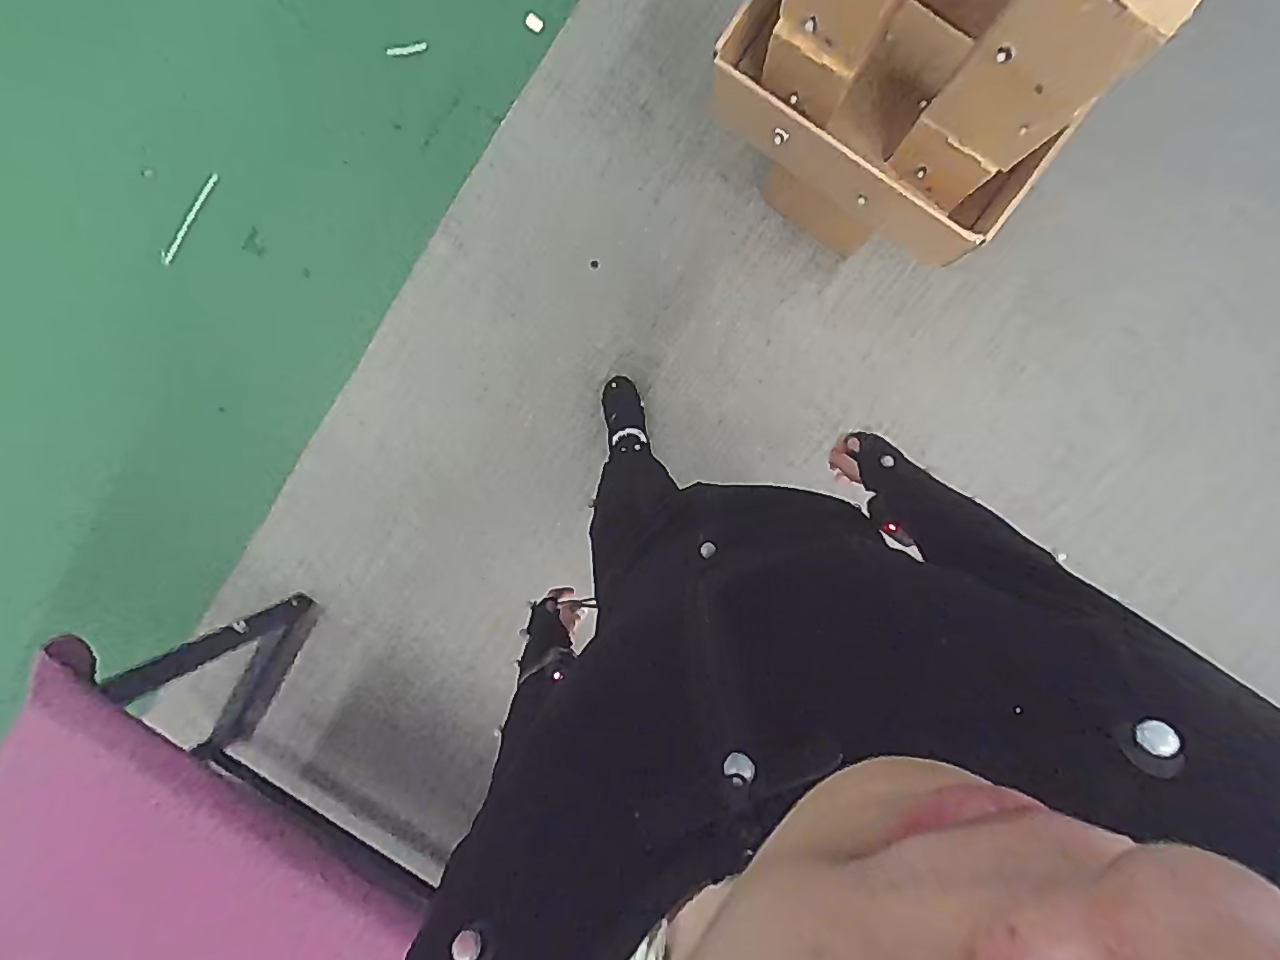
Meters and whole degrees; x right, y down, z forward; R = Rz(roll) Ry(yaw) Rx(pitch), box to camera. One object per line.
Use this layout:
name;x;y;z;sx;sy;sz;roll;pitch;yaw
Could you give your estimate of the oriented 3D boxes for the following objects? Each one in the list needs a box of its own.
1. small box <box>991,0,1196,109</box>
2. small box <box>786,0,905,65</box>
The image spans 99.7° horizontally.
small box;0.595;-0.631;0.688;0.168;0.176;0.179;37;95;-2
small box;0.353;-0.825;0.851;0.168;0.176;0.179;38;96;1
